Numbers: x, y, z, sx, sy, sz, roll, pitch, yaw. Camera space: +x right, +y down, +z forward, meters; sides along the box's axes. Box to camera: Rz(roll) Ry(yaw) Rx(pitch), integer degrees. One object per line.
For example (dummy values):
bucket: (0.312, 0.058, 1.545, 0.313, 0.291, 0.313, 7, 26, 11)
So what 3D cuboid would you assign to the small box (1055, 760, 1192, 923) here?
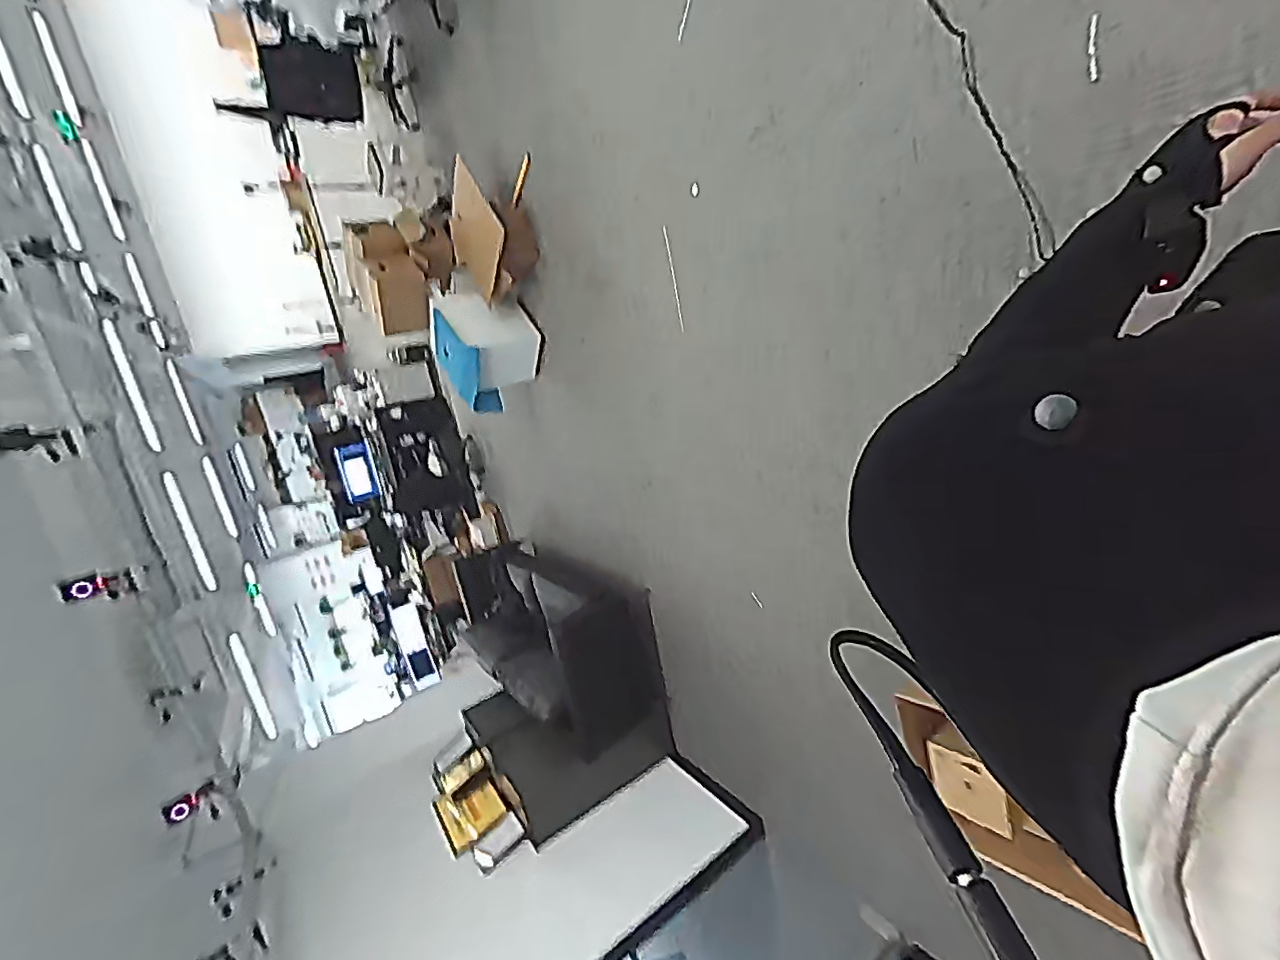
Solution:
small box: (0.961, 0.700, 1.075, 0.168, 0.176, 0.179, -2, 105, 56)
